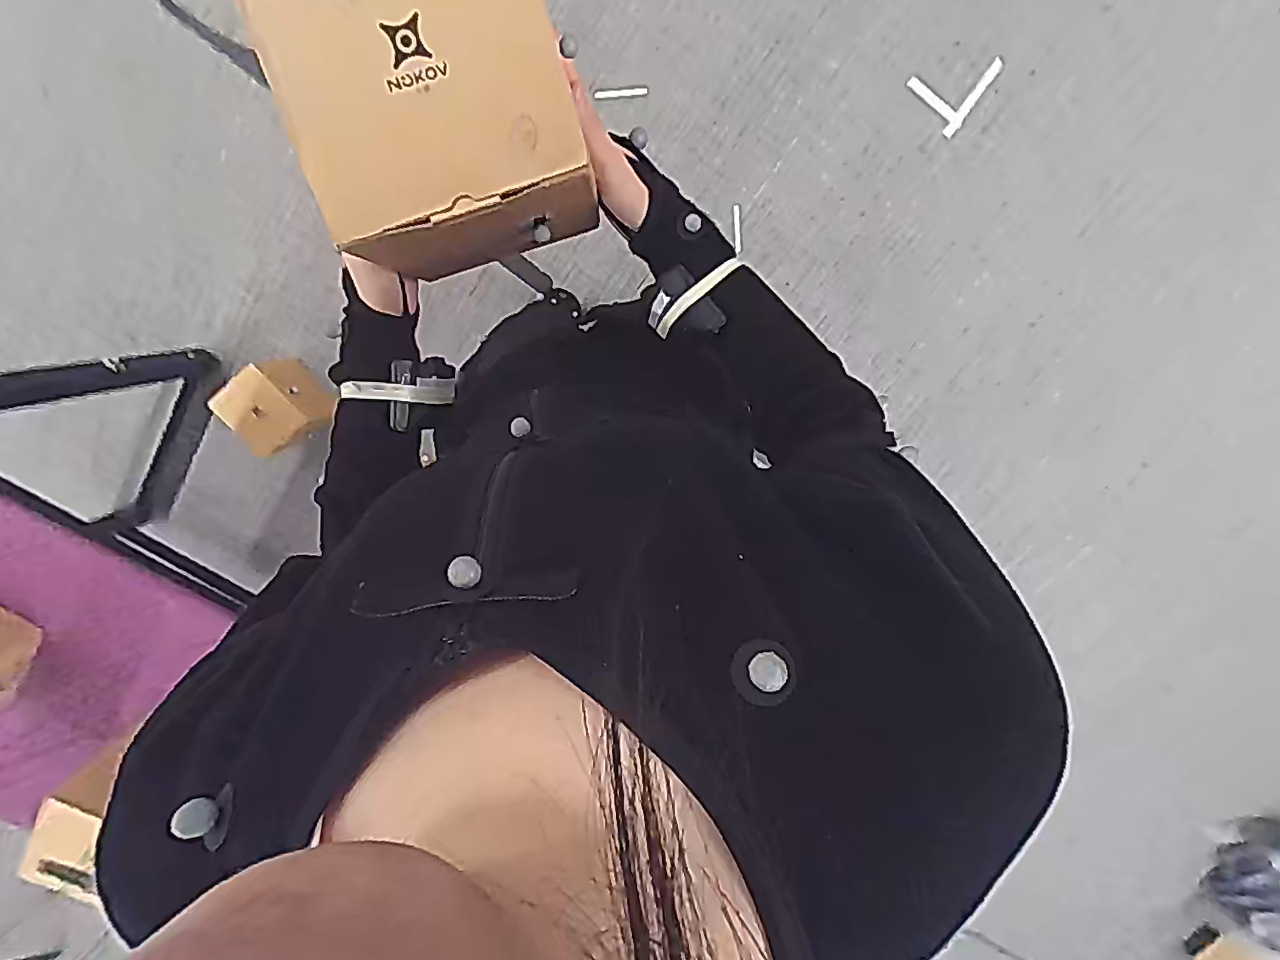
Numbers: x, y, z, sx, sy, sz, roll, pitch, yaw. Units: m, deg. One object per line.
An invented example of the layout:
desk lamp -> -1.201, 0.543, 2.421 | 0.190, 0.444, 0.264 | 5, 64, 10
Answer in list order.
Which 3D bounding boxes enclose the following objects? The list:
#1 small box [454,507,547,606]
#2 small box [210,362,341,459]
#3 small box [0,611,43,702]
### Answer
small box -> -0.377, 0.207, 1.497 | 0.168, 0.176, 0.179 | 36, 106, -11
small box -> -0.911, -0.184, 1.368 | 0.168, 0.176, 0.179 | -36, 106, 11
small box -> -1.021, 0.268, 0.749 | 0.179, 0.176, 0.168 | 36, 106, -12
